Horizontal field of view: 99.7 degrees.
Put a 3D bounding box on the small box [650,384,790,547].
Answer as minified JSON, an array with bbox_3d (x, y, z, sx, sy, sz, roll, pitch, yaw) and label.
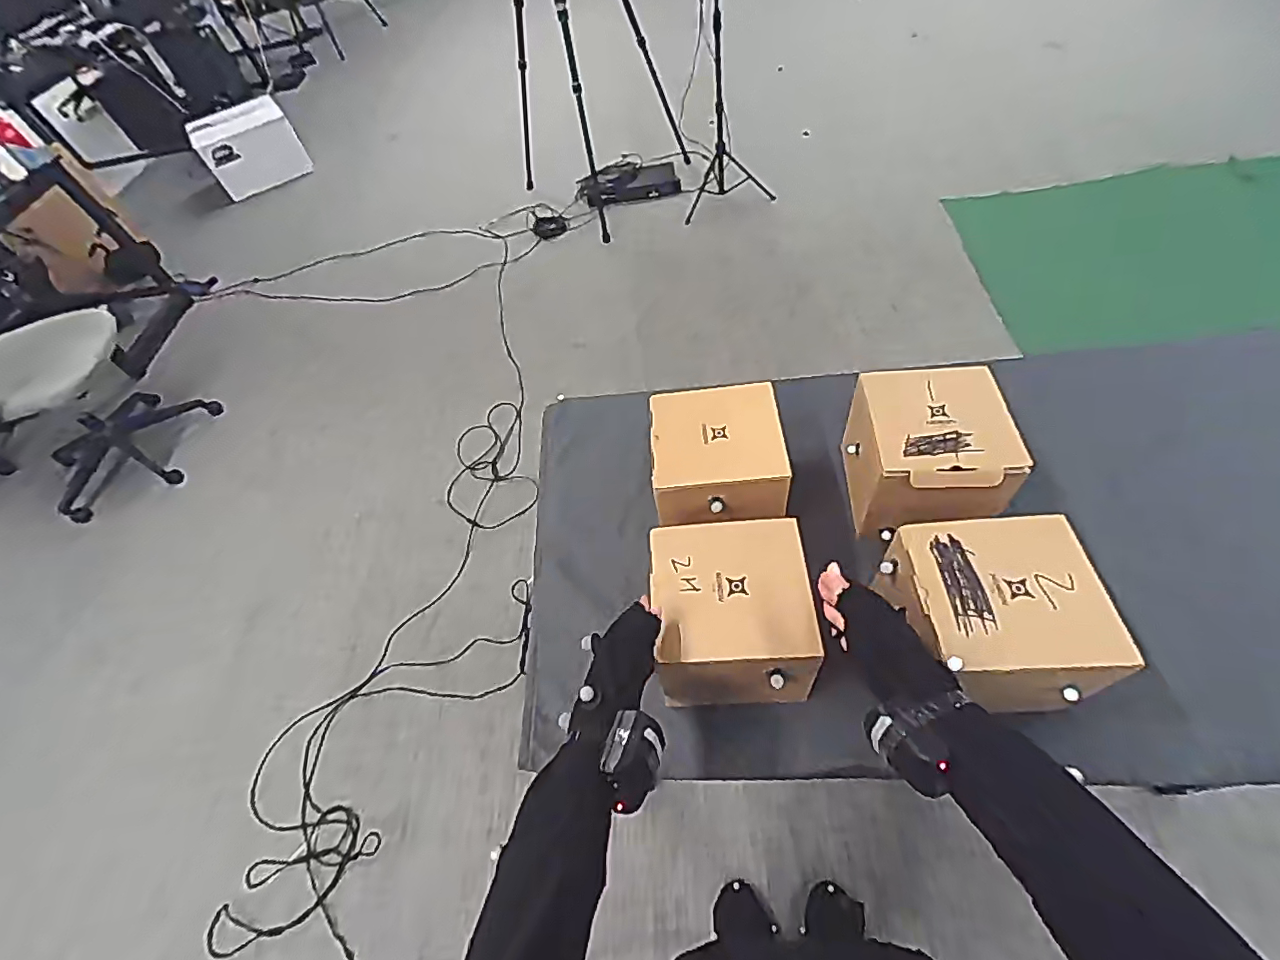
[{"bbox_3d":[0.112,-0.016,0.790,0.179,0.176,0.168,-6,55,7],"label":"small box"}]
